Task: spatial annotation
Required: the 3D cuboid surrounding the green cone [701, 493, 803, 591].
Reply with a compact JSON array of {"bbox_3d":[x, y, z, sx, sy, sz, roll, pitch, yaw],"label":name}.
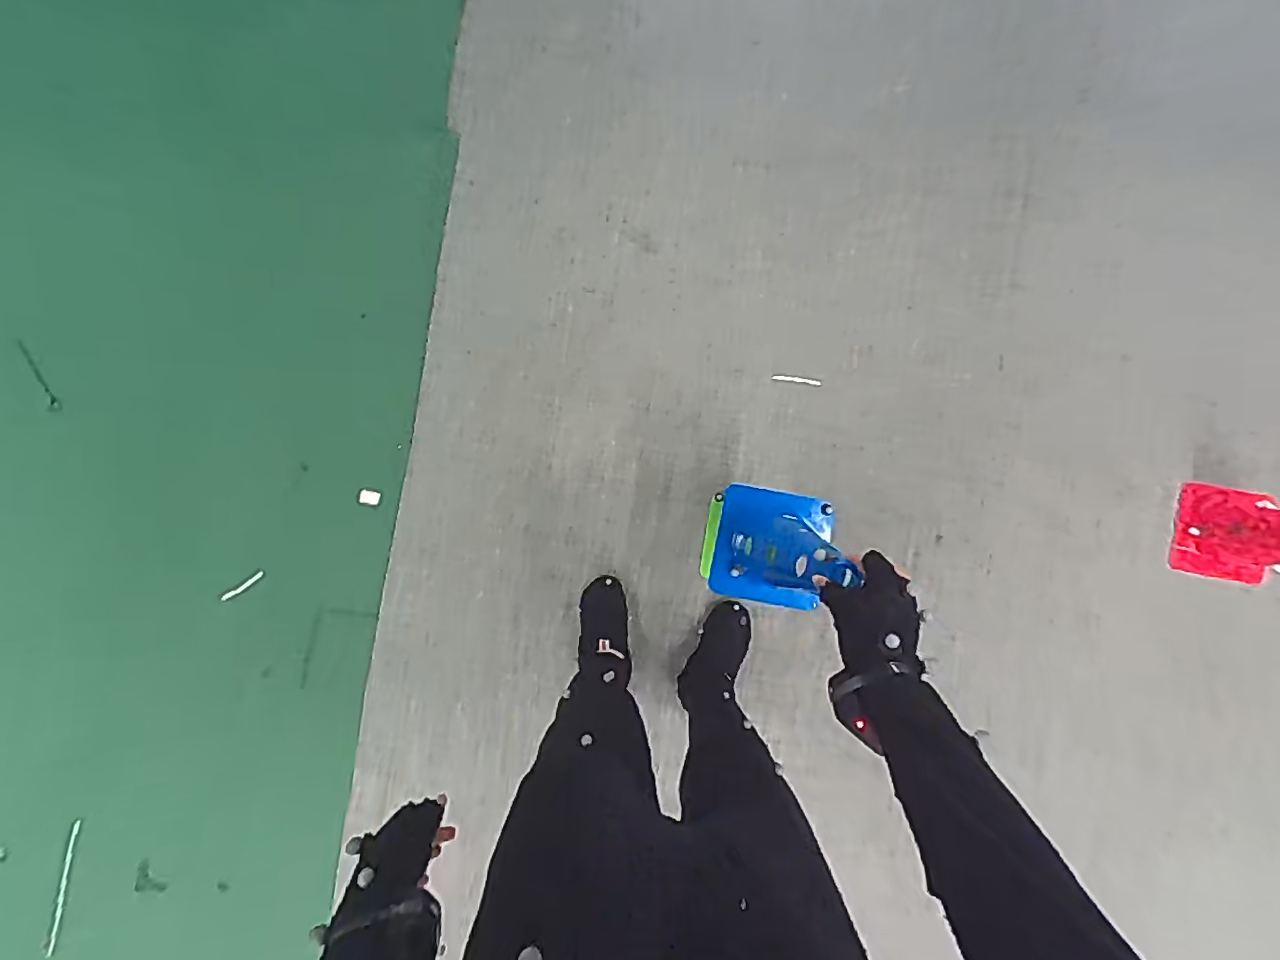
[{"bbox_3d":[0.242,0.137,1.048,0.202,0.368,0.200,9,89,2],"label":"green cone"}]
